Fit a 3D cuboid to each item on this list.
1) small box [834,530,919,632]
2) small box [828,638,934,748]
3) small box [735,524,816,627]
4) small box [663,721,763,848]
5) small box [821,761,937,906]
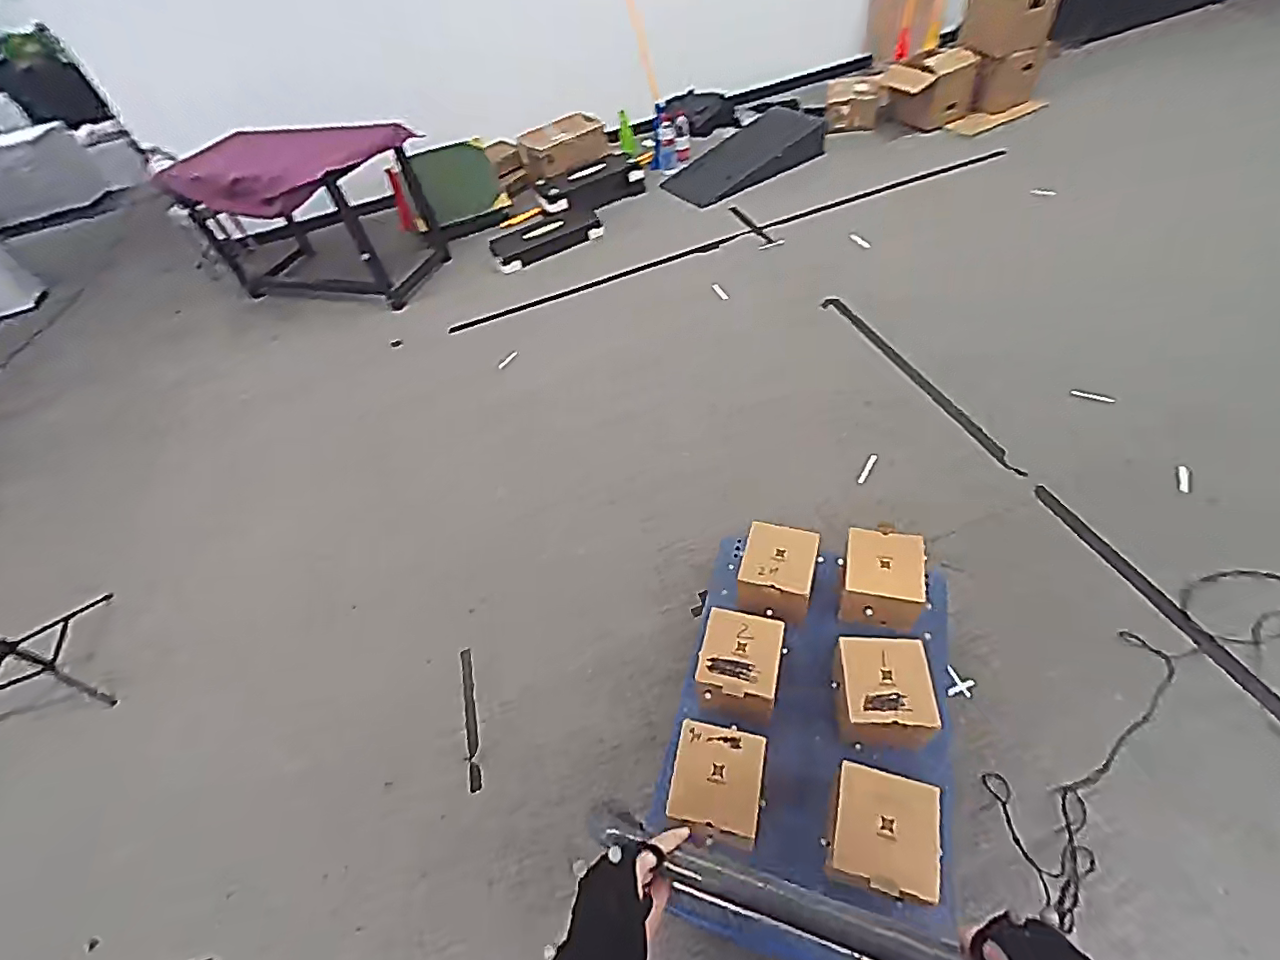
[{"bbox_3d":[0.568,0.247,1.311,0.168,0.176,0.179,6,52,16],"label":"small box"},{"bbox_3d":[0.501,0.456,1.149,0.168,0.176,0.179,-1,50,10],"label":"small box"},{"bbox_3d":[0.338,0.240,1.358,0.168,0.176,0.179,10,54,19],"label":"small box"},{"bbox_3d":[0.153,0.613,1.083,0.168,0.176,0.179,7,52,15],"label":"small box"},{"bbox_3d":[0.435,0.653,0.997,0.168,0.176,0.179,10,52,18],"label":"small box"}]
